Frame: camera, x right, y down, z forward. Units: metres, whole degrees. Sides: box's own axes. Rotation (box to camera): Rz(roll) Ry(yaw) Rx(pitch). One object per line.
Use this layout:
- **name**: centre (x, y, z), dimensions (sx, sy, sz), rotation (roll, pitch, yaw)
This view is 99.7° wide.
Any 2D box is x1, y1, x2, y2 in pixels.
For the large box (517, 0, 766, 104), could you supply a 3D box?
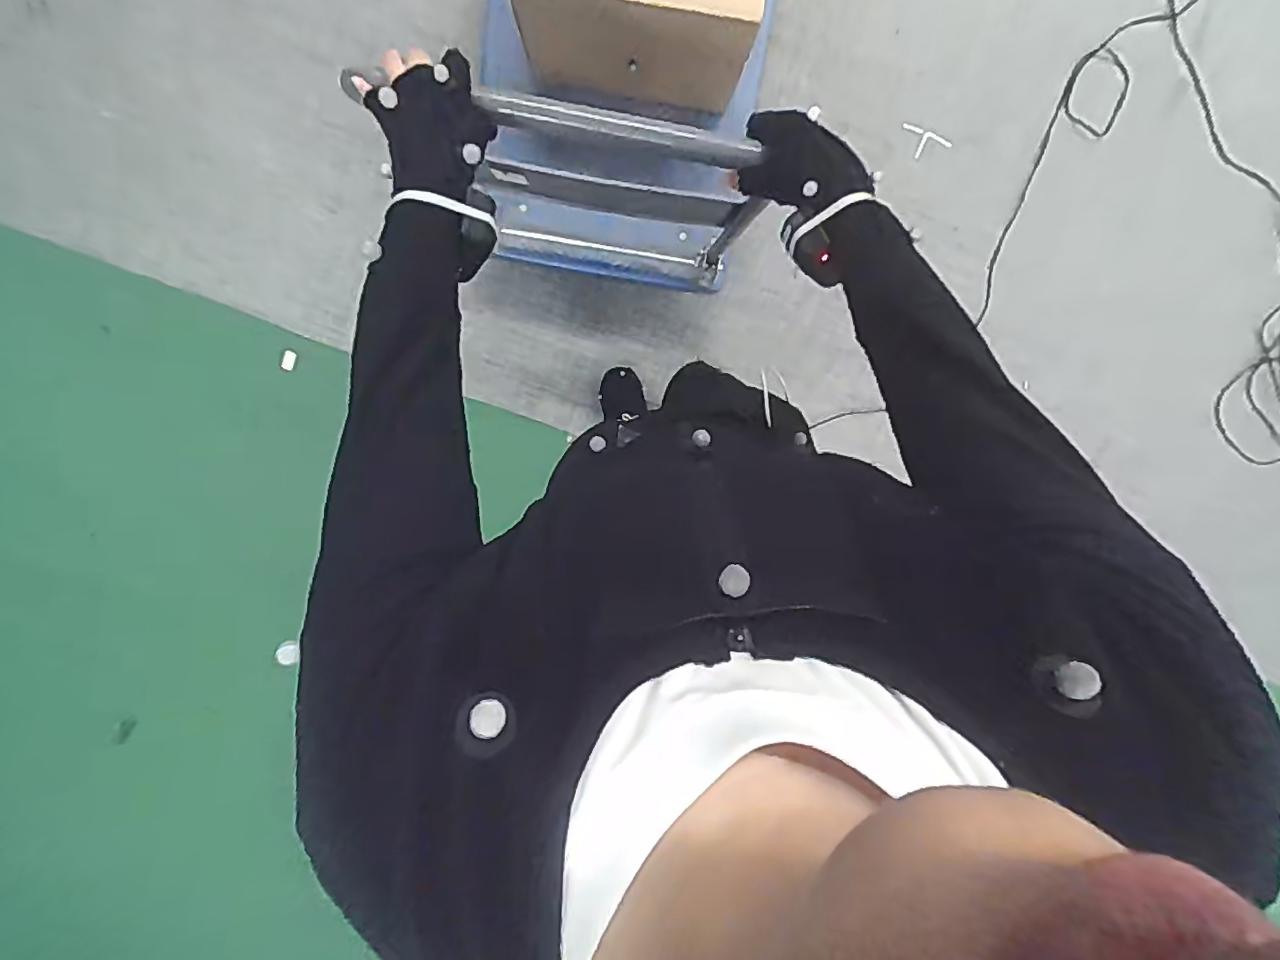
- **large box**: centre (0.012, -0.925, 0.959), dimensions (0.408, 0.320, 0.320), rotation (7, 101, -3)
